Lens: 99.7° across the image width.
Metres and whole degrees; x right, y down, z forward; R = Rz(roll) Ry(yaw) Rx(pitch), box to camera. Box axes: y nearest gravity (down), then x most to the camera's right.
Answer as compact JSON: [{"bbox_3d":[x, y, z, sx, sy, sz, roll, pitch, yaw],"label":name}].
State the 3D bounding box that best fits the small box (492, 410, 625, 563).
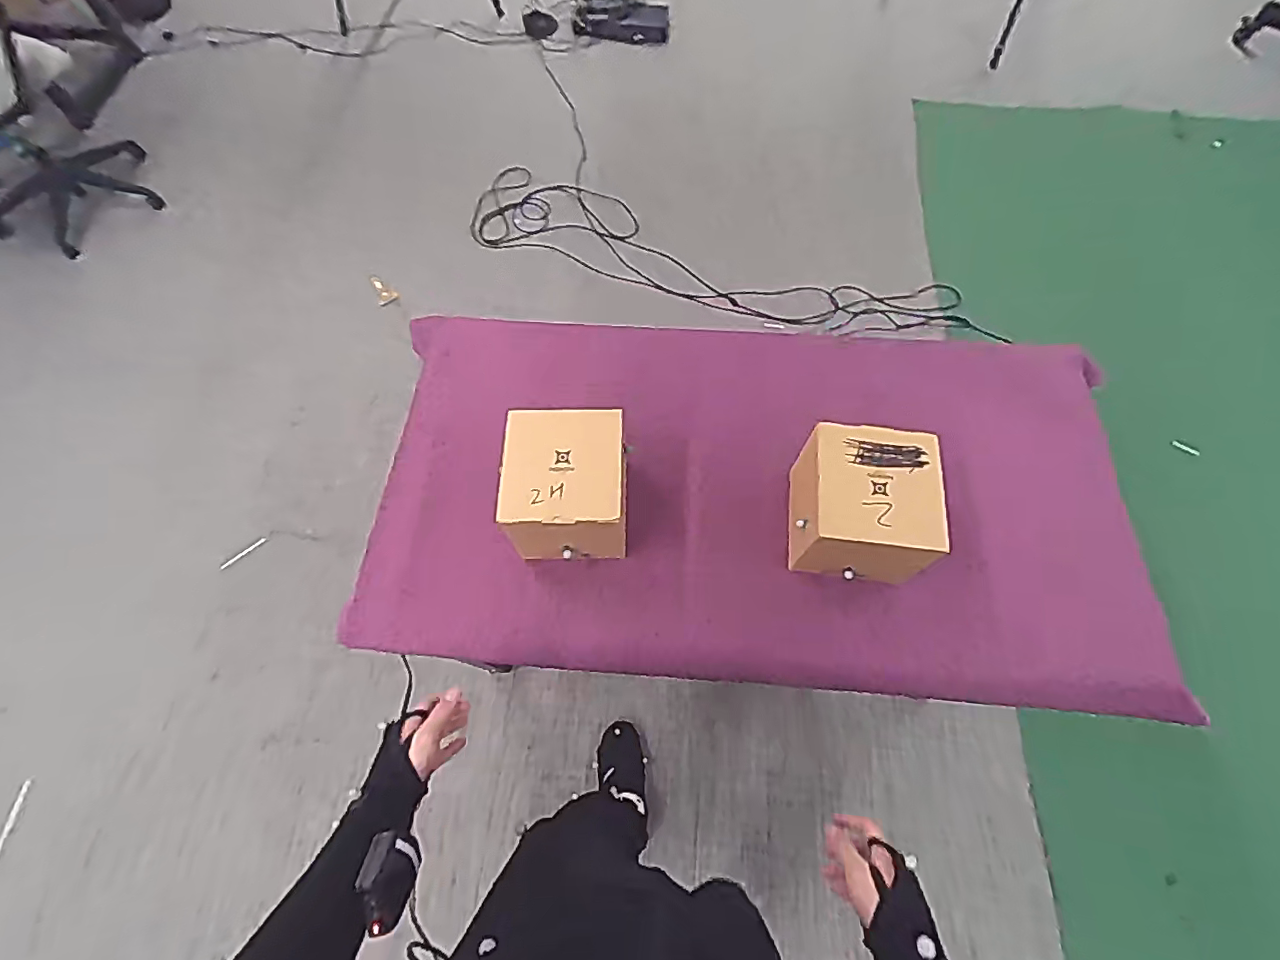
[{"bbox_3d":[-0.109,0.013,0.805,0.168,0.176,0.179,0,65,1],"label":"small box"}]
